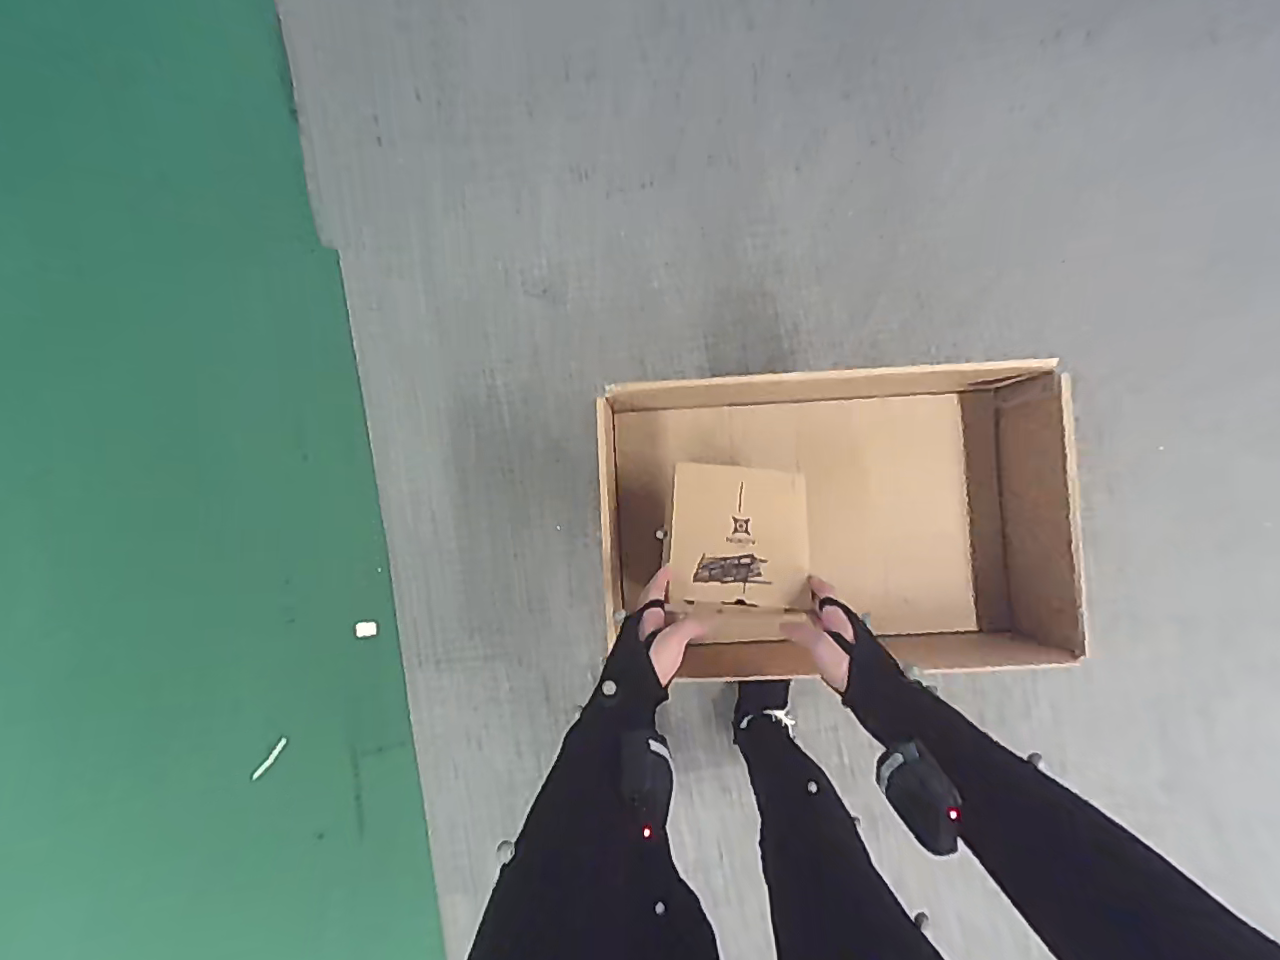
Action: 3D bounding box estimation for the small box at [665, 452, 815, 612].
[{"bbox_3d":[0.124,0.078,0.718,0.168,0.176,0.179,5,73,0],"label":"small box"}]
